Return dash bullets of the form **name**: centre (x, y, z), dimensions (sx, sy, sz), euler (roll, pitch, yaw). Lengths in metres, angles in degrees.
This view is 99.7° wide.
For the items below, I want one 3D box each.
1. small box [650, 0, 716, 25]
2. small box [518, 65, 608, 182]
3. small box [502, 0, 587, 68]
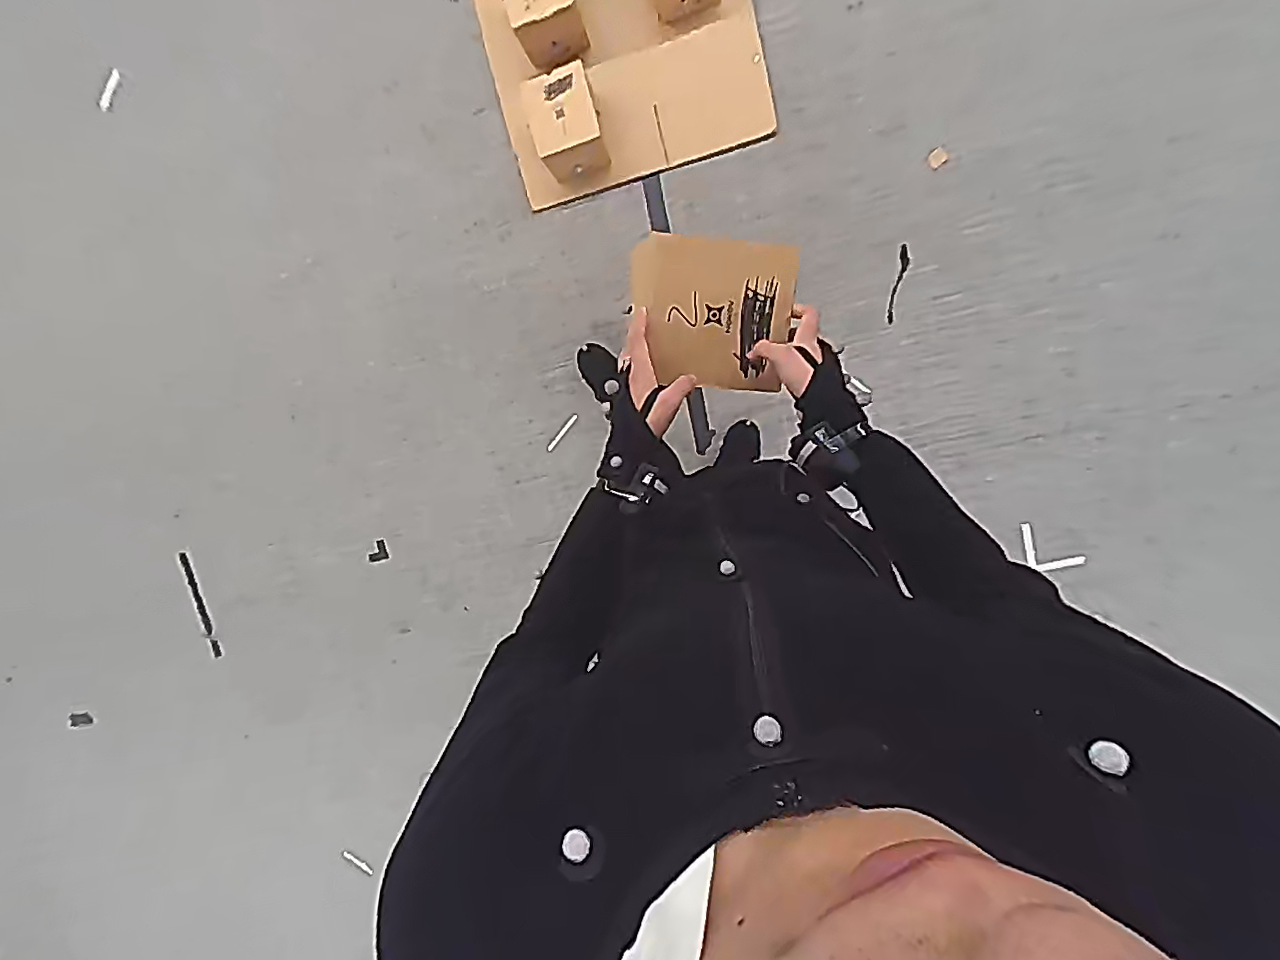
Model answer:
- **small box**: centre (0.087, -1.260, 1.296), dimensions (0.168, 0.176, 0.179), euler (-17, 99, 9)
- **small box**: centre (-0.191, -0.907, 1.390), dimensions (0.168, 0.176, 0.179), euler (-14, 100, 10)
- **small box**: centre (-0.244, -1.183, 1.341), dimensions (0.168, 0.176, 0.179), euler (-14, 100, 10)
